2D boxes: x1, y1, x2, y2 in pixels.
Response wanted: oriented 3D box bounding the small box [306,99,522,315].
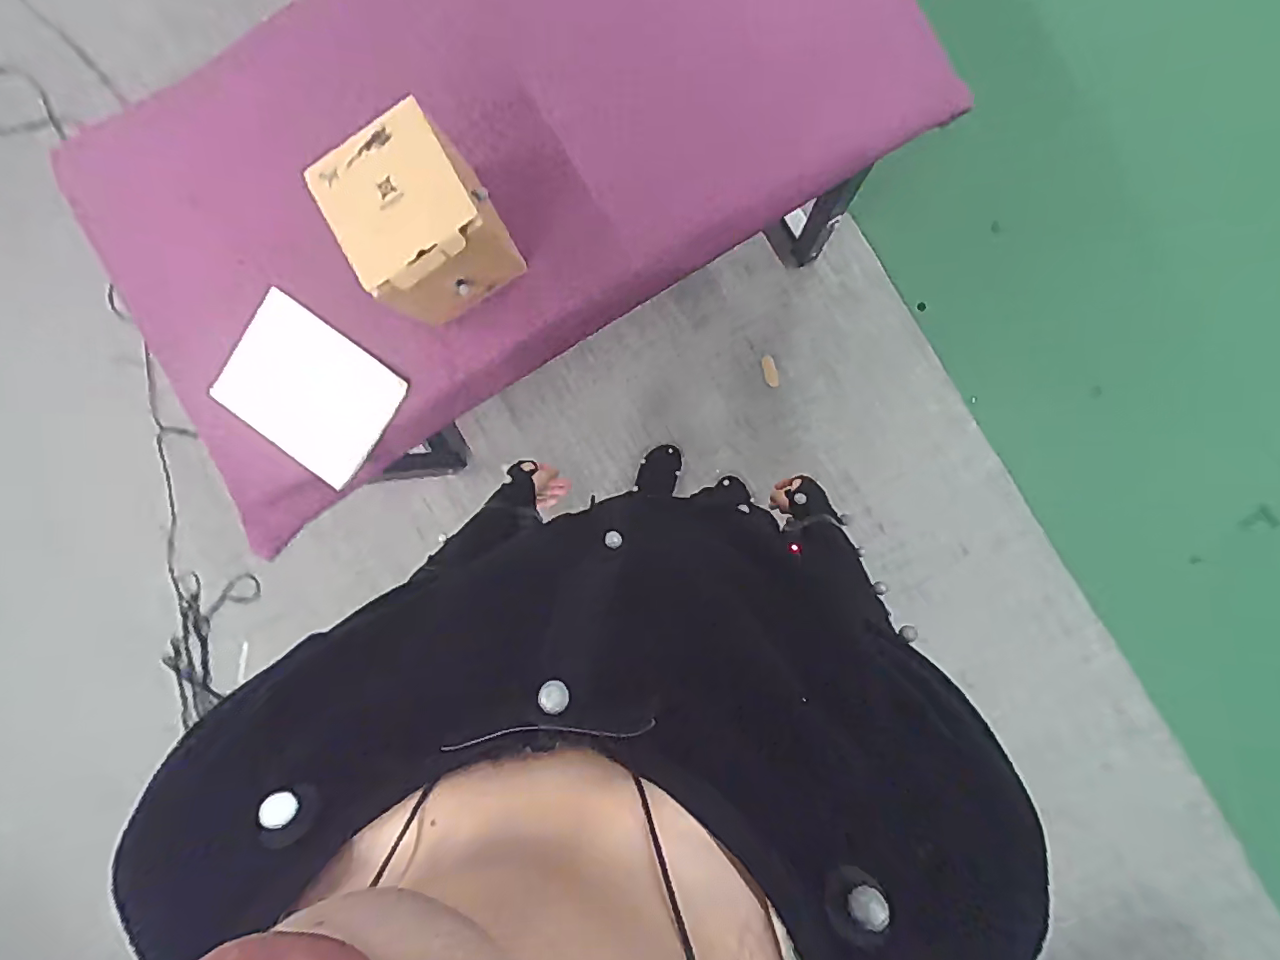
[{"bbox_3d":[-0.284,-0.340,0.722,0.168,0.176,0.179,-30,90,7],"label":"small box"}]
